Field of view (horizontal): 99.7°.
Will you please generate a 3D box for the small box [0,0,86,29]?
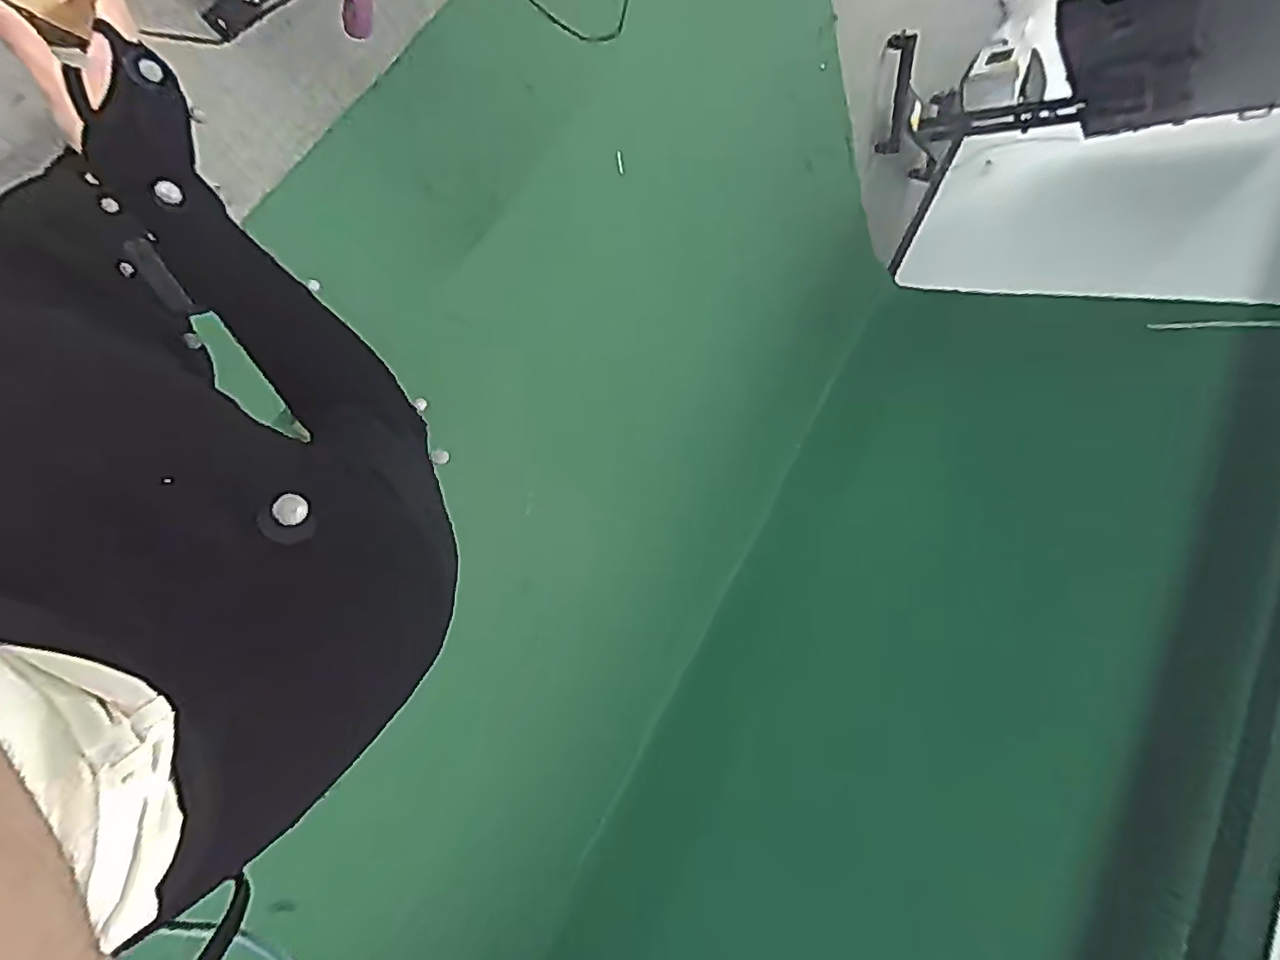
[{"bbox_3d":[-0.482,-0.436,0.346,0.168,0.176,0.179,-2,115,-58],"label":"small box"}]
